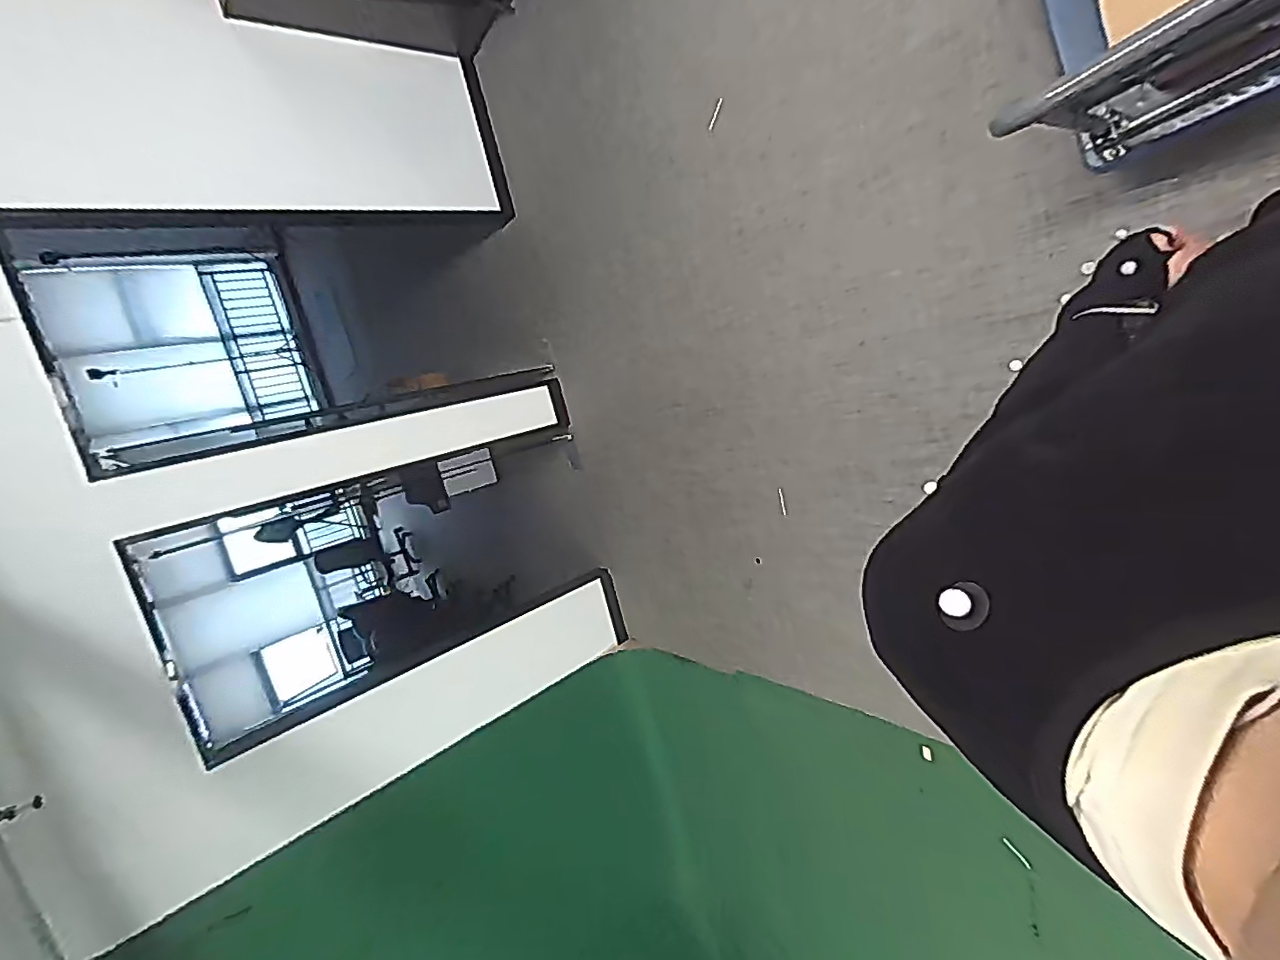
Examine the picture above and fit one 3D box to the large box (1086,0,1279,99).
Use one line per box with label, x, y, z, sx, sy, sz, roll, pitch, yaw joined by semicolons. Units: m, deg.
large box;0.850;-0.860;0.770;0.320;0.320;0.408;-12;95;53
